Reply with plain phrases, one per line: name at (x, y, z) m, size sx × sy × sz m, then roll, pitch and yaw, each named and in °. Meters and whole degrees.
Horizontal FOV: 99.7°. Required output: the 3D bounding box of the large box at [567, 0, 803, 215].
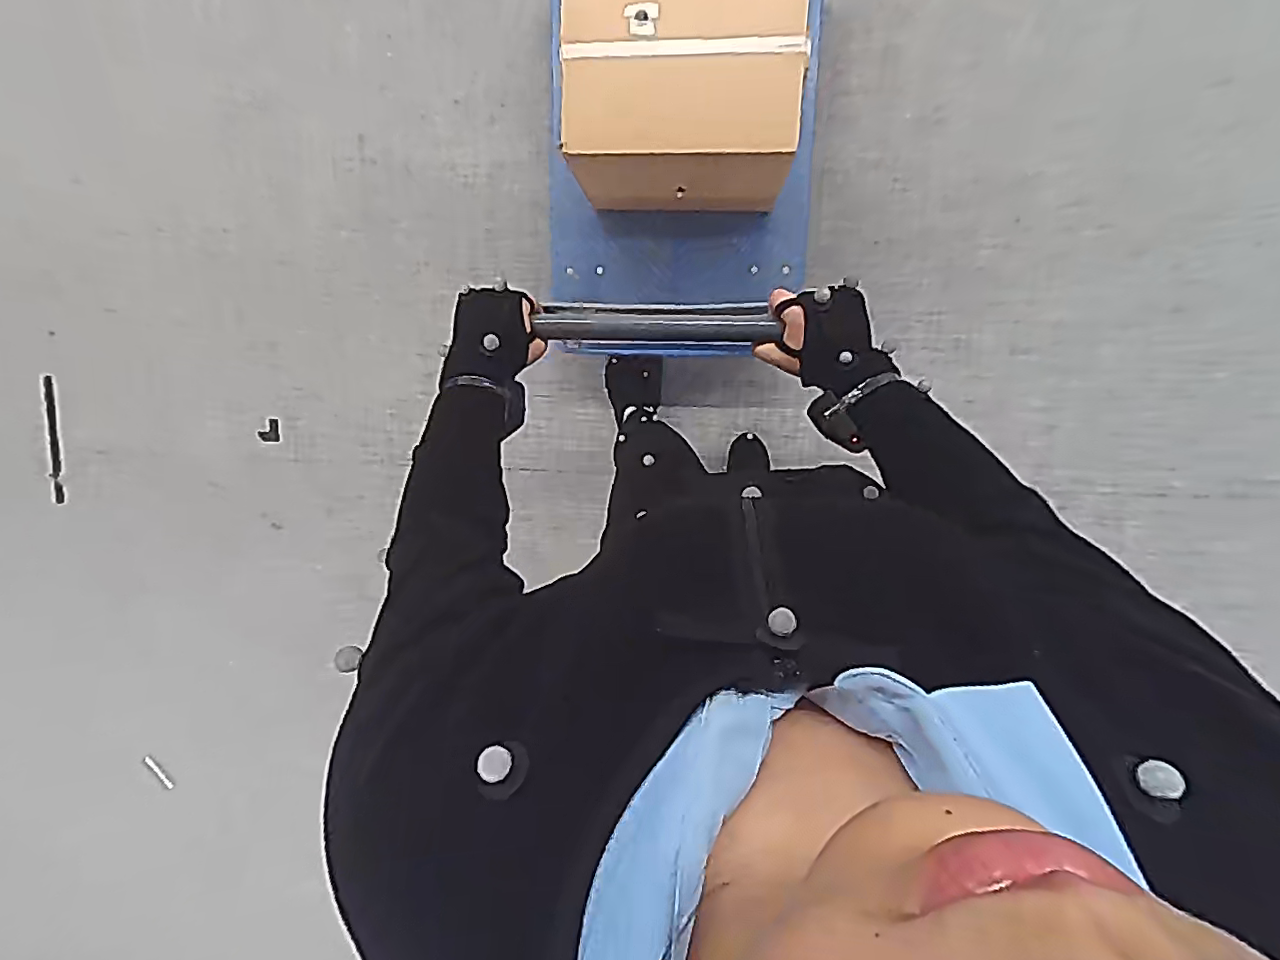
large box at (0.090, -0.732, 1.063) m, size 0.408 × 0.320 × 0.320 m, roll 3°, pitch 99°, yaw 7°
